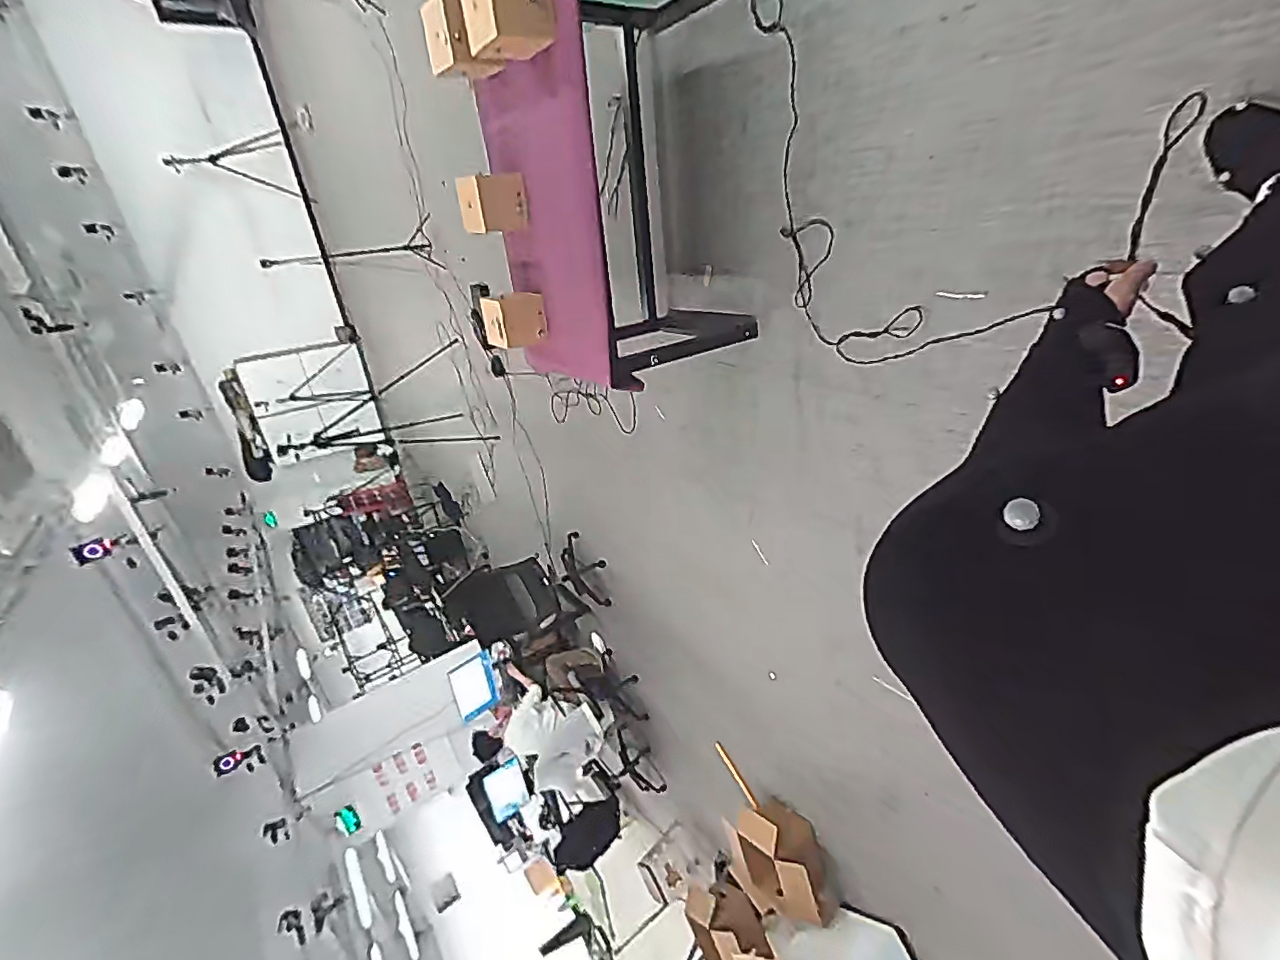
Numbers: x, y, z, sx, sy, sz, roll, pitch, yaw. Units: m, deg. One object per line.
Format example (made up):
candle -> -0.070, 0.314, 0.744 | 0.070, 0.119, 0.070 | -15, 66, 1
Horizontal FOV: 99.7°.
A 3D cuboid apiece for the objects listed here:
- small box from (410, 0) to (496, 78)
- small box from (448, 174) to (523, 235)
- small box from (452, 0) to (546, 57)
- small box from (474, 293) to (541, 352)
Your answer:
small box -> -0.544, -1.293, 1.581 | 0.179, 0.176, 0.168 | 28, 133, 46
small box -> -0.509, -0.913, 1.791 | 0.179, 0.176, 0.168 | 29, 134, 44
small box -> -0.358, -1.188, 1.362 | 0.179, 0.176, 0.168 | 26, 133, 47
small box -> -0.470, -0.574, 1.953 | 0.179, 0.176, 0.168 | 27, 131, 46
